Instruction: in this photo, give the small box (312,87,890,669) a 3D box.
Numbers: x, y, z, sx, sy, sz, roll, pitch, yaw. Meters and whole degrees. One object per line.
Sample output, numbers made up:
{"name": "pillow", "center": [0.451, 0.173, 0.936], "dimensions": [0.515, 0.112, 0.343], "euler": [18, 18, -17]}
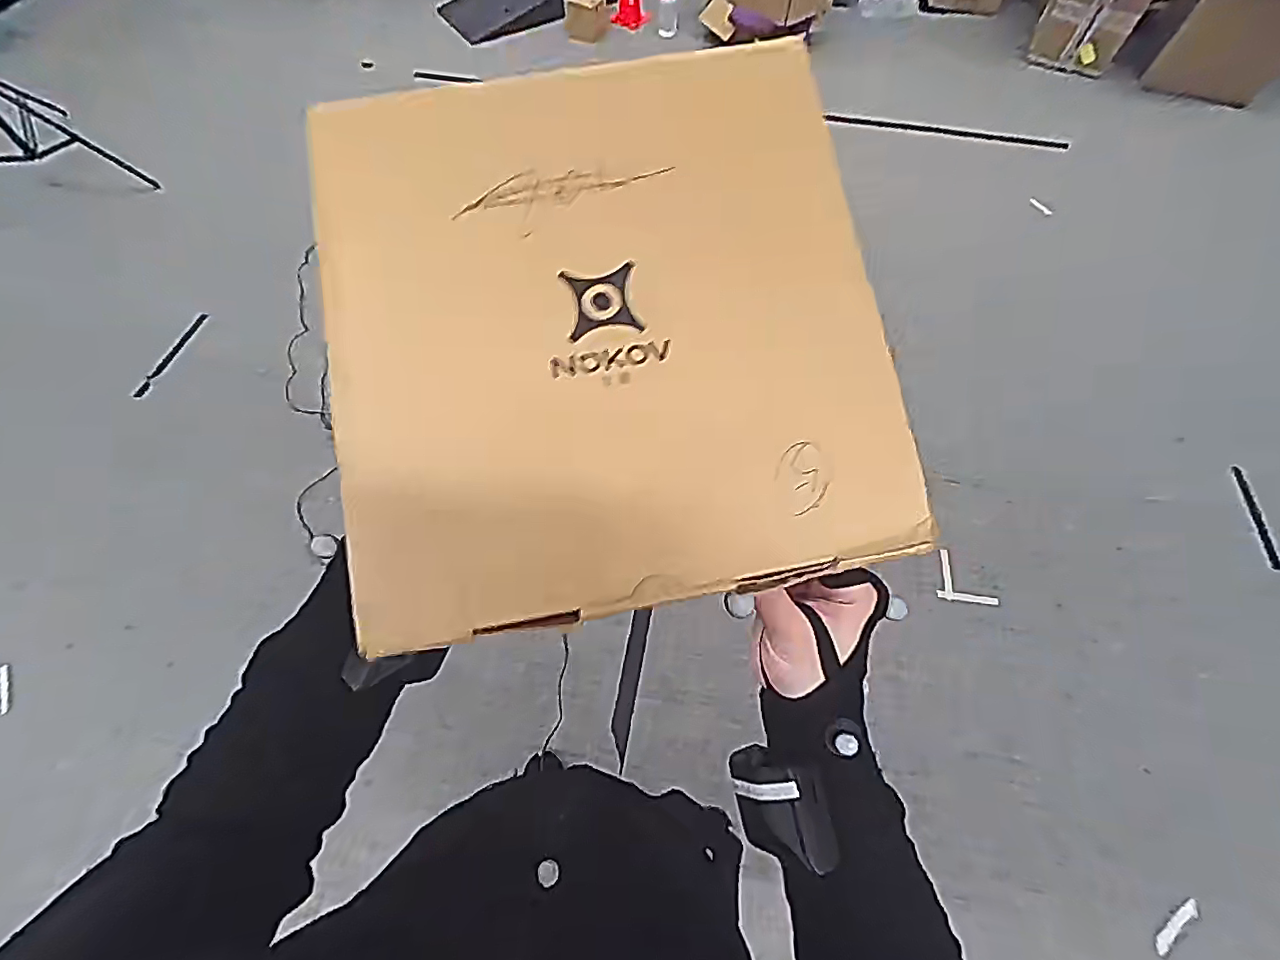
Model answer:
{"name": "small box", "center": [-0.018, -0.028, 0.256], "dimensions": [0.168, 0.176, 0.179], "euler": [-12, 79, -3]}
